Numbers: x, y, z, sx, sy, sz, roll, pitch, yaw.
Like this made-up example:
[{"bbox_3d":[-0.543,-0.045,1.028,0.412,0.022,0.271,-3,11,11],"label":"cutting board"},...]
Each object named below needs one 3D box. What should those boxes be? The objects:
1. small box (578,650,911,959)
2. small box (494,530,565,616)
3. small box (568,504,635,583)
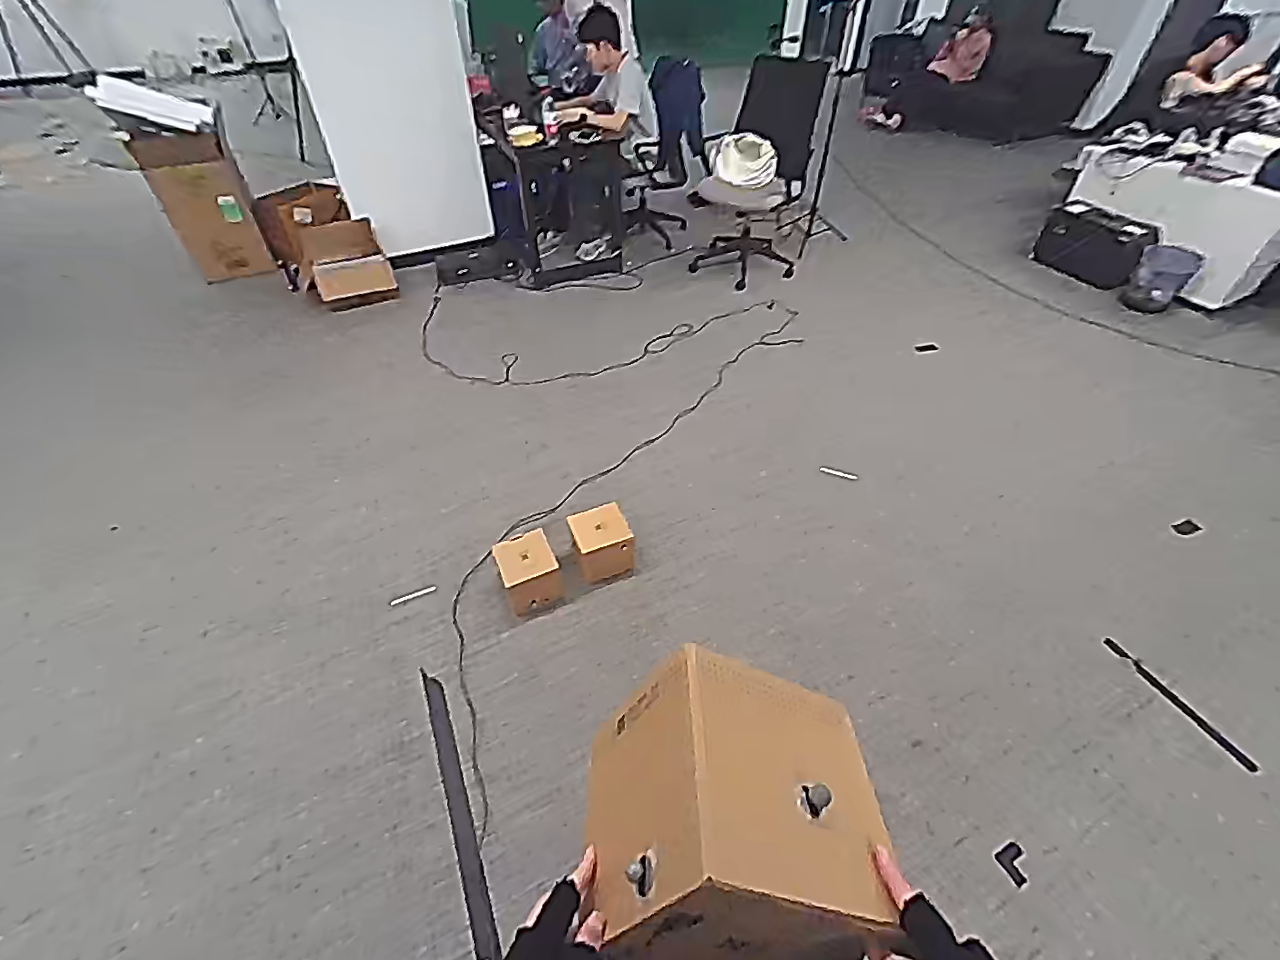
[{"bbox_3d":[0.068,0.267,0.440,0.179,0.168,0.176,26,31,-18],"label":"small box"},{"bbox_3d":[-0.347,0.295,1.704,0.168,0.176,0.179,-20,49,-16],"label":"small box"},{"bbox_3d":[-0.123,0.214,1.784,0.179,0.176,0.168,-17,47,-17],"label":"small box"}]
